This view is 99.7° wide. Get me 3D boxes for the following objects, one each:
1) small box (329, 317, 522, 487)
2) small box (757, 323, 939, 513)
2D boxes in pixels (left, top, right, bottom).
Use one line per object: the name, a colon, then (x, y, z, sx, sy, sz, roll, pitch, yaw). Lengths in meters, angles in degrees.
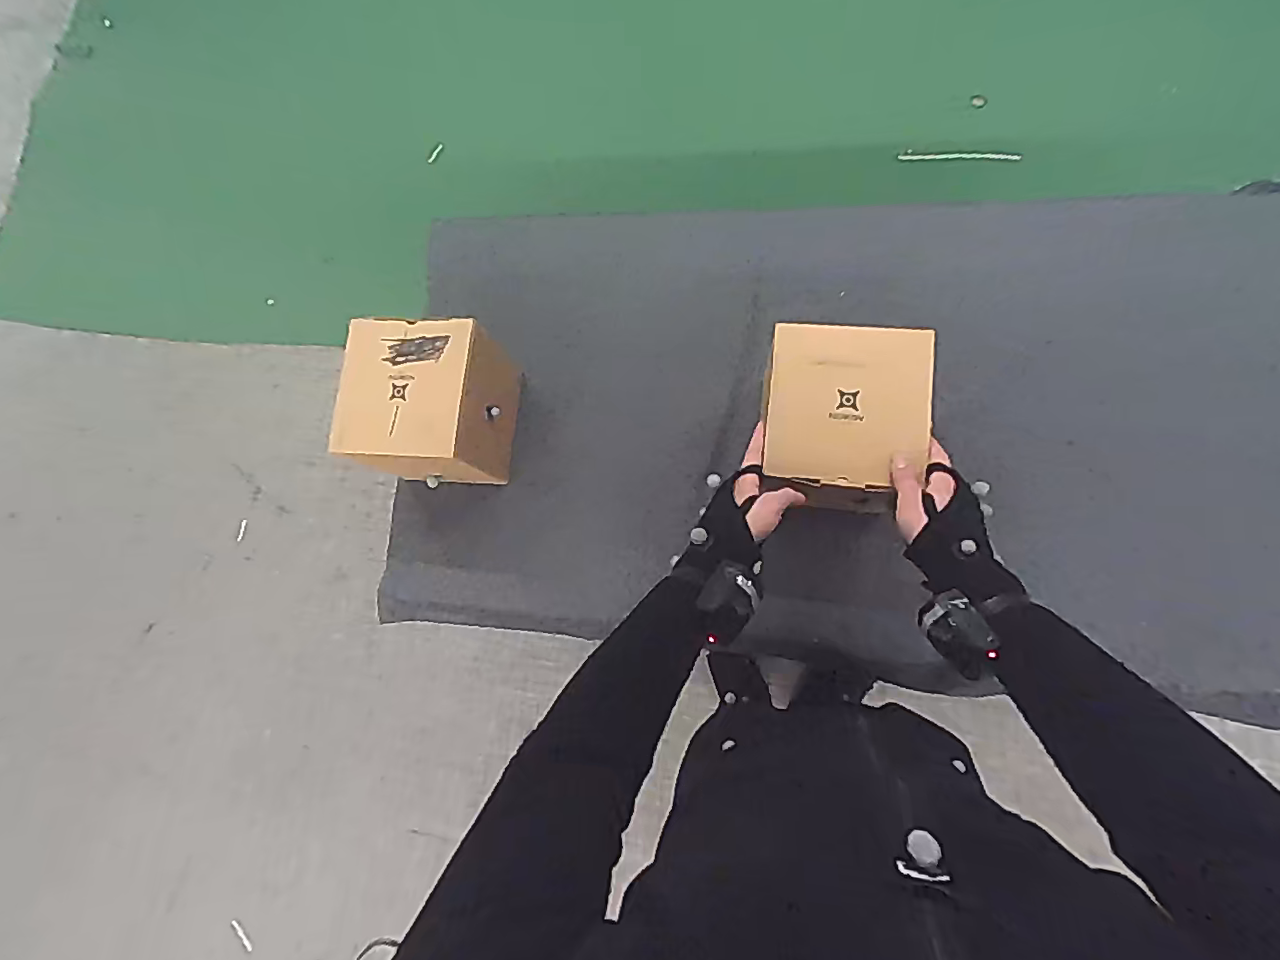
small box: (-0.269, -0.096, 0.719, 0.168, 0.176, 0.179, 3, 79, 10)
small box: (0.230, -0.062, 0.634, 0.168, 0.176, 0.179, 5, 78, 9)
